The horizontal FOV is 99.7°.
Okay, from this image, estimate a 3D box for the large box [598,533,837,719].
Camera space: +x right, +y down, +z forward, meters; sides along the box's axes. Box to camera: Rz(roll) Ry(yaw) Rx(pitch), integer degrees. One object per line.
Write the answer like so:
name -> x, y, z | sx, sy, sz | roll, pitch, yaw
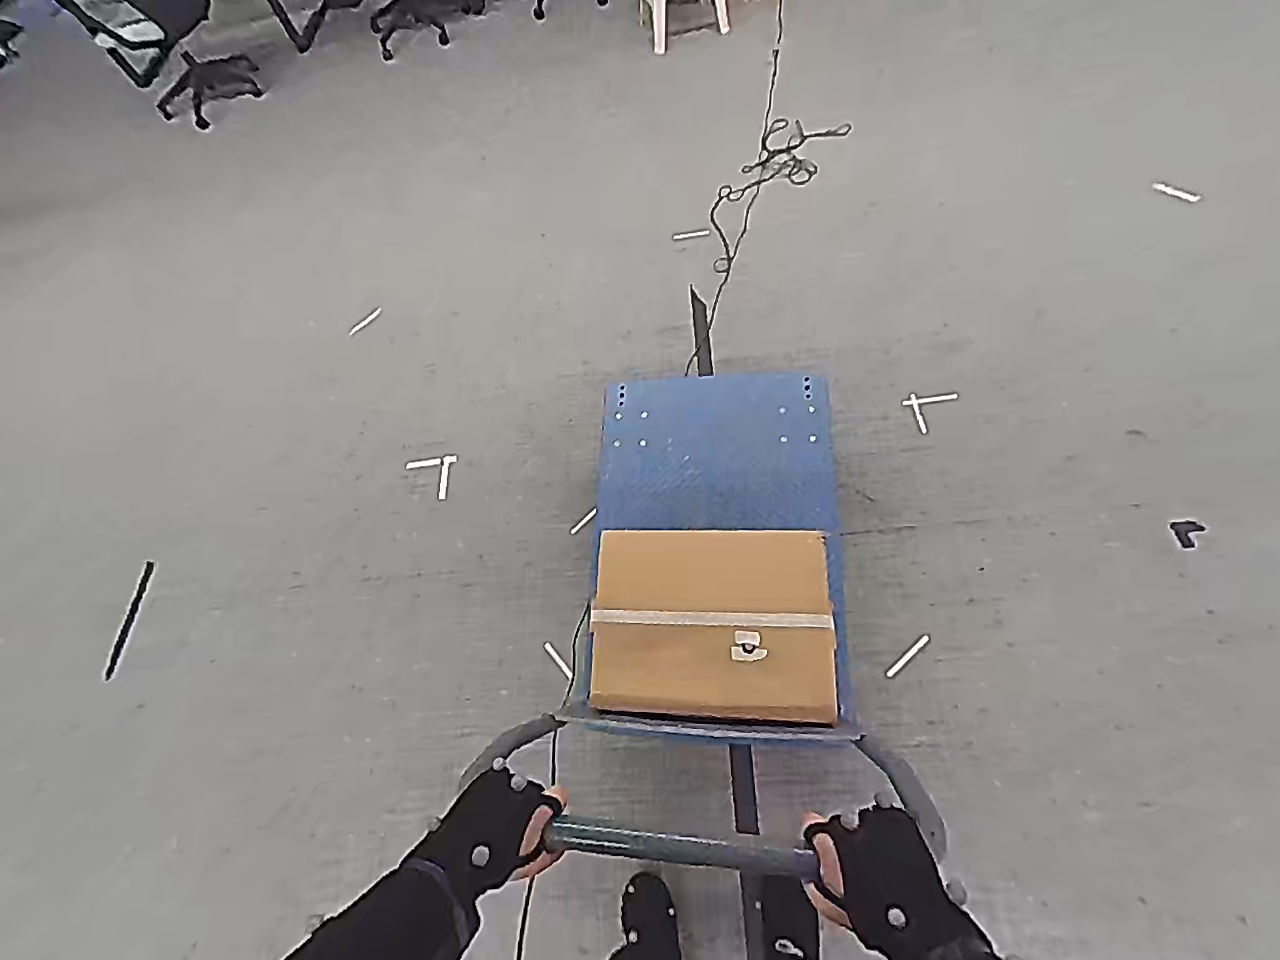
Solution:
large box -> 0.147, 0.296, 1.083 | 0.408, 0.320, 0.320 | -1, 71, 9
